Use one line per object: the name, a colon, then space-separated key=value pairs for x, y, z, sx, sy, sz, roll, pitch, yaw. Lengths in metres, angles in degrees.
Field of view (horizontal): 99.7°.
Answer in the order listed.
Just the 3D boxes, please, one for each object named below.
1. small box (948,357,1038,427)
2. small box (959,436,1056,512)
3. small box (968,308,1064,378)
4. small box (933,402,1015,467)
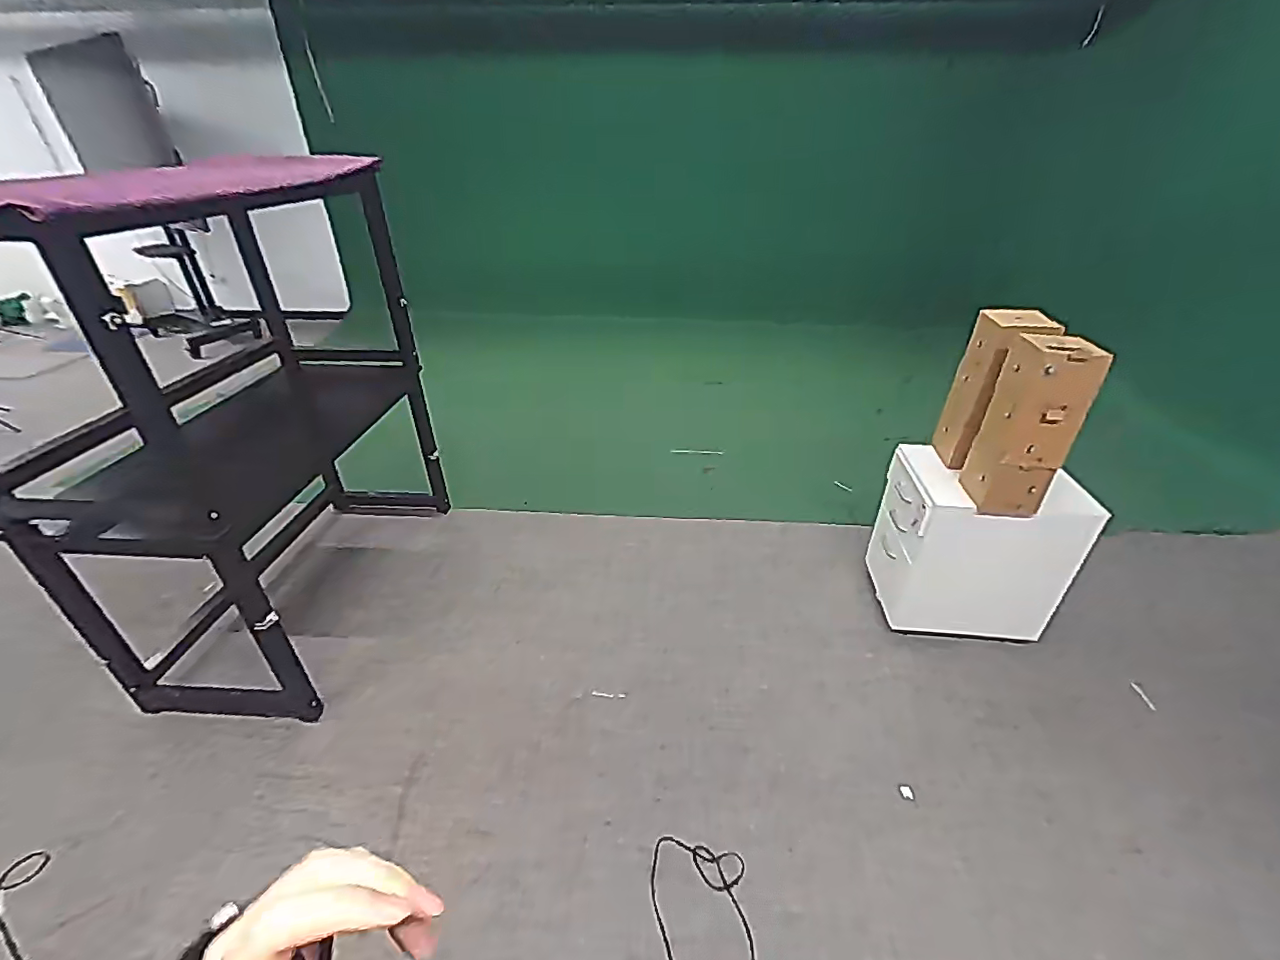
small box: x=1.144 y=-0.290 z=1.771 sx=0.168 sy=0.176 sz=0.179 roll=4 pitch=35 yaw=5
small box: x=1.115 y=-0.018 z=1.656 sx=0.168 sy=0.176 sz=0.179 roll=4 pitch=31 yaw=4
small box: x=1.148 y=-0.424 z=1.674 sx=0.179 sy=0.176 sz=0.168 roll=4 pitch=35 yaw=5
small box: x=1.139 y=-0.153 z=1.861 sx=0.168 sy=0.176 sz=0.179 roll=3 pitch=34 yaw=6
